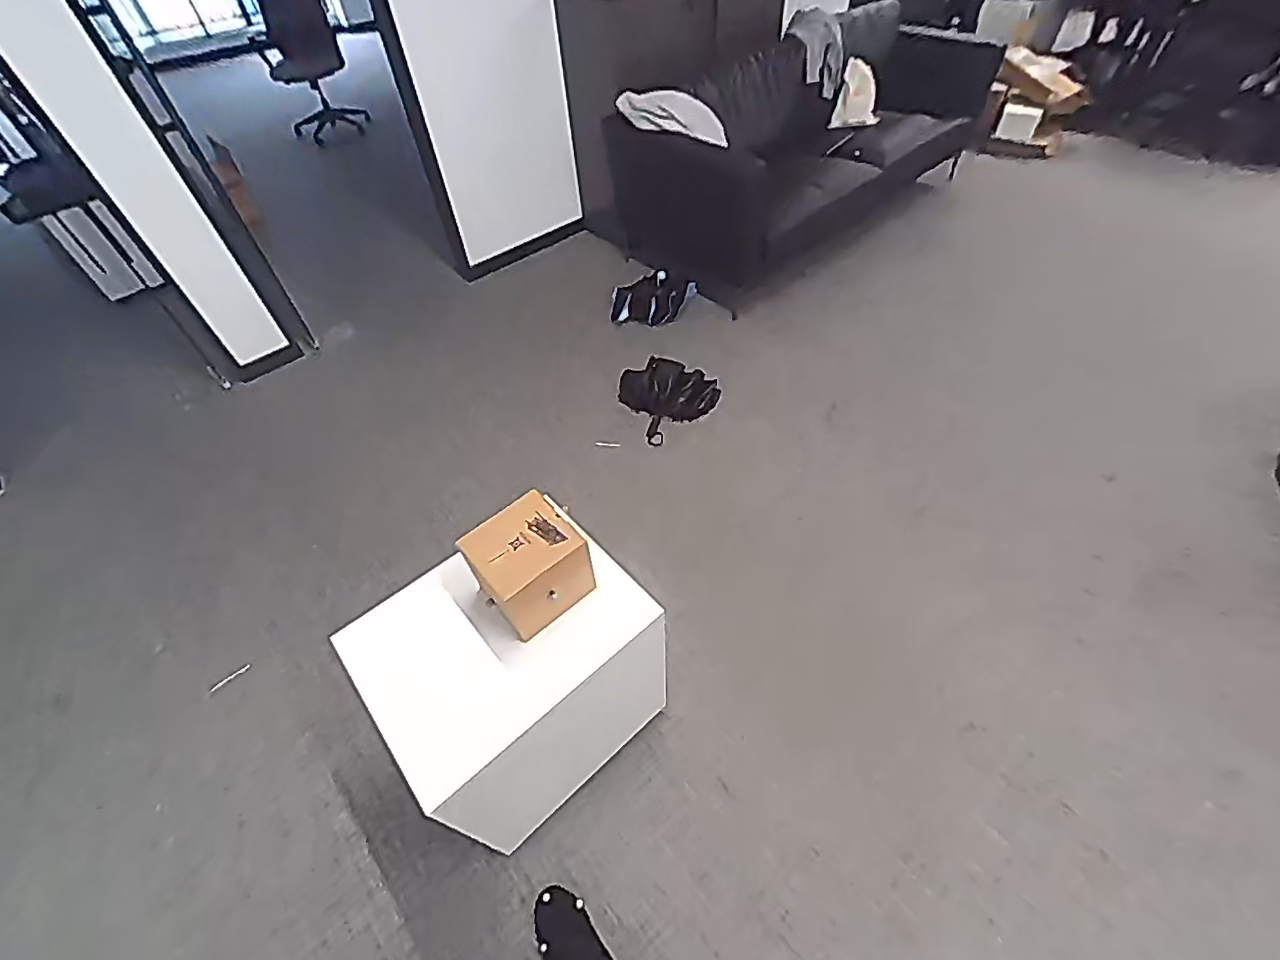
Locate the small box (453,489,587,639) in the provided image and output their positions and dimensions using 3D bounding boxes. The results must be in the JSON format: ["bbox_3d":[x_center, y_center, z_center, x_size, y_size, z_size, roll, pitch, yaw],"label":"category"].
[{"bbox_3d":[-0.210,0.156,1.000,0.179,0.176,0.168,-35,57,-25],"label":"small box"}]
